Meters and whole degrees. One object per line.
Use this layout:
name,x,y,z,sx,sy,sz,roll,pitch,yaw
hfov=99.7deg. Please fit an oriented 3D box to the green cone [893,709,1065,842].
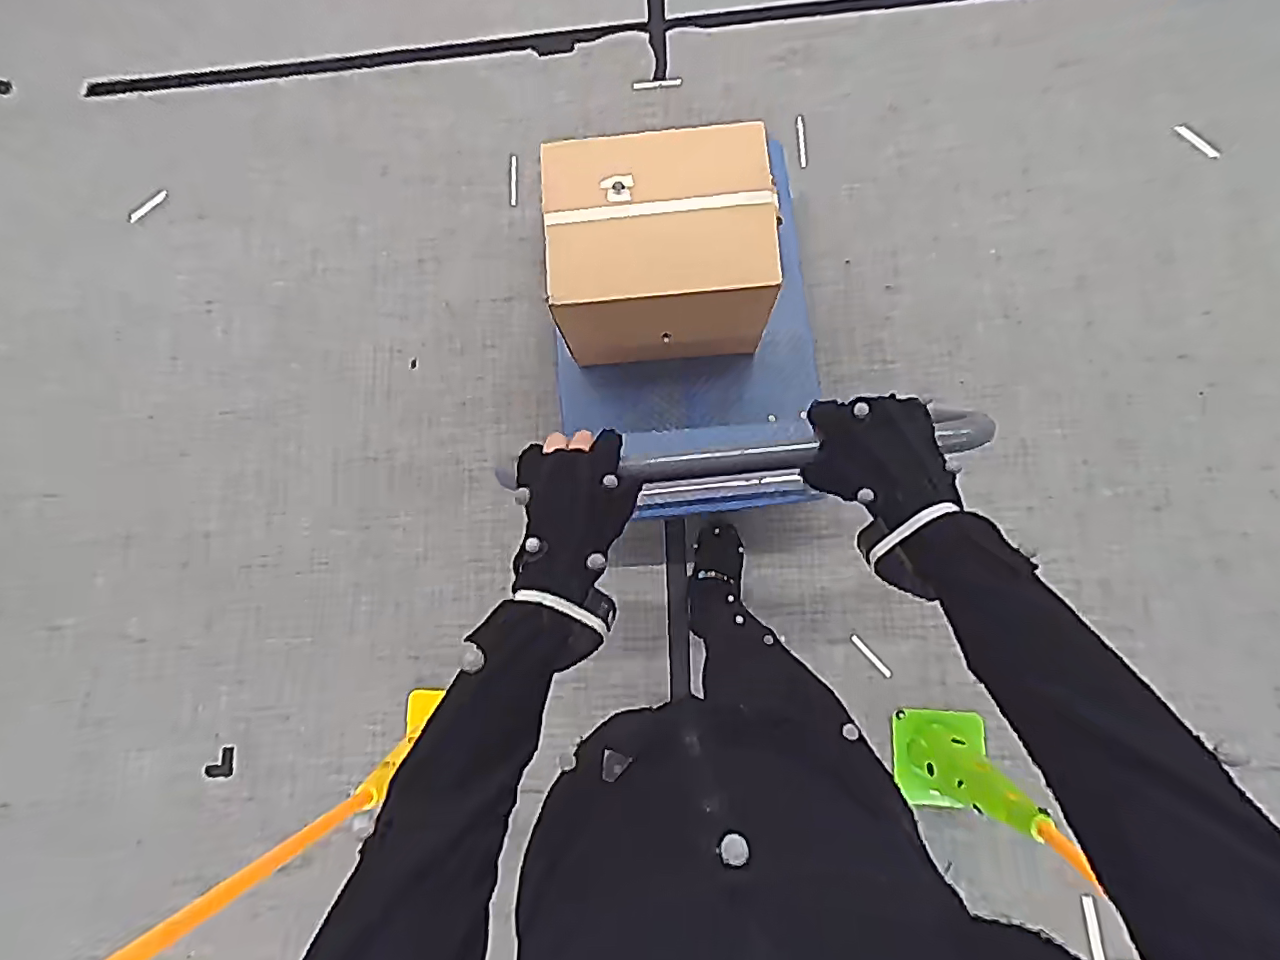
green cone,0.664,0.593,1.042,0.202,0.368,0.200,1,81,3

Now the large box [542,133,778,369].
large box,0.040,-0.435,1.103,0.408,0.320,0.320,-4,82,4
